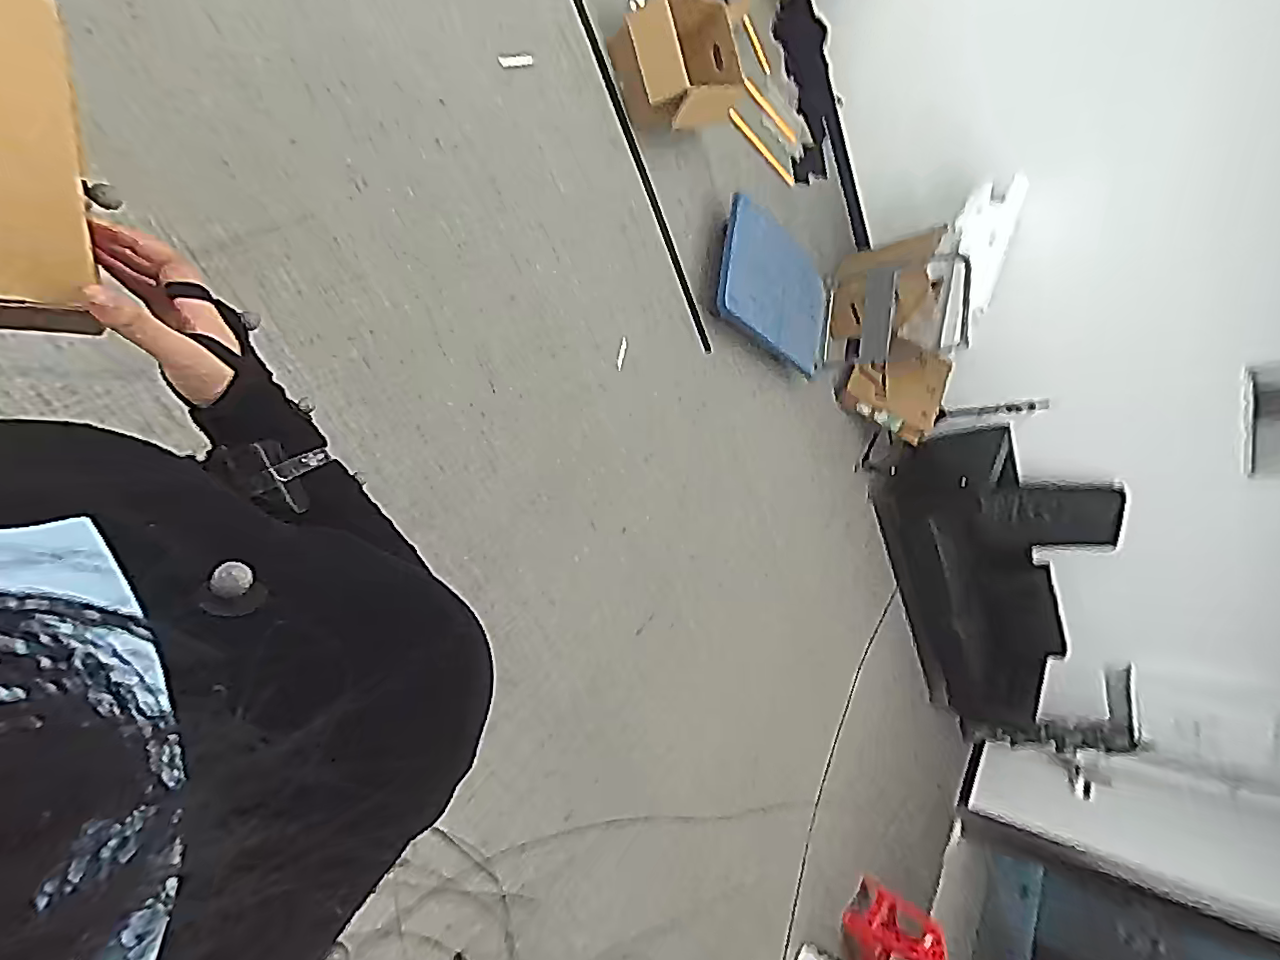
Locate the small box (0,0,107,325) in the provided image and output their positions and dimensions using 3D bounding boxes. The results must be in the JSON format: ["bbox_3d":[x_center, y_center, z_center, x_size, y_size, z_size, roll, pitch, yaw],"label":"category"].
[{"bbox_3d":[-0.446,-0.196,0.321,0.168,0.176,0.179,-9,103,-44],"label":"small box"}]
